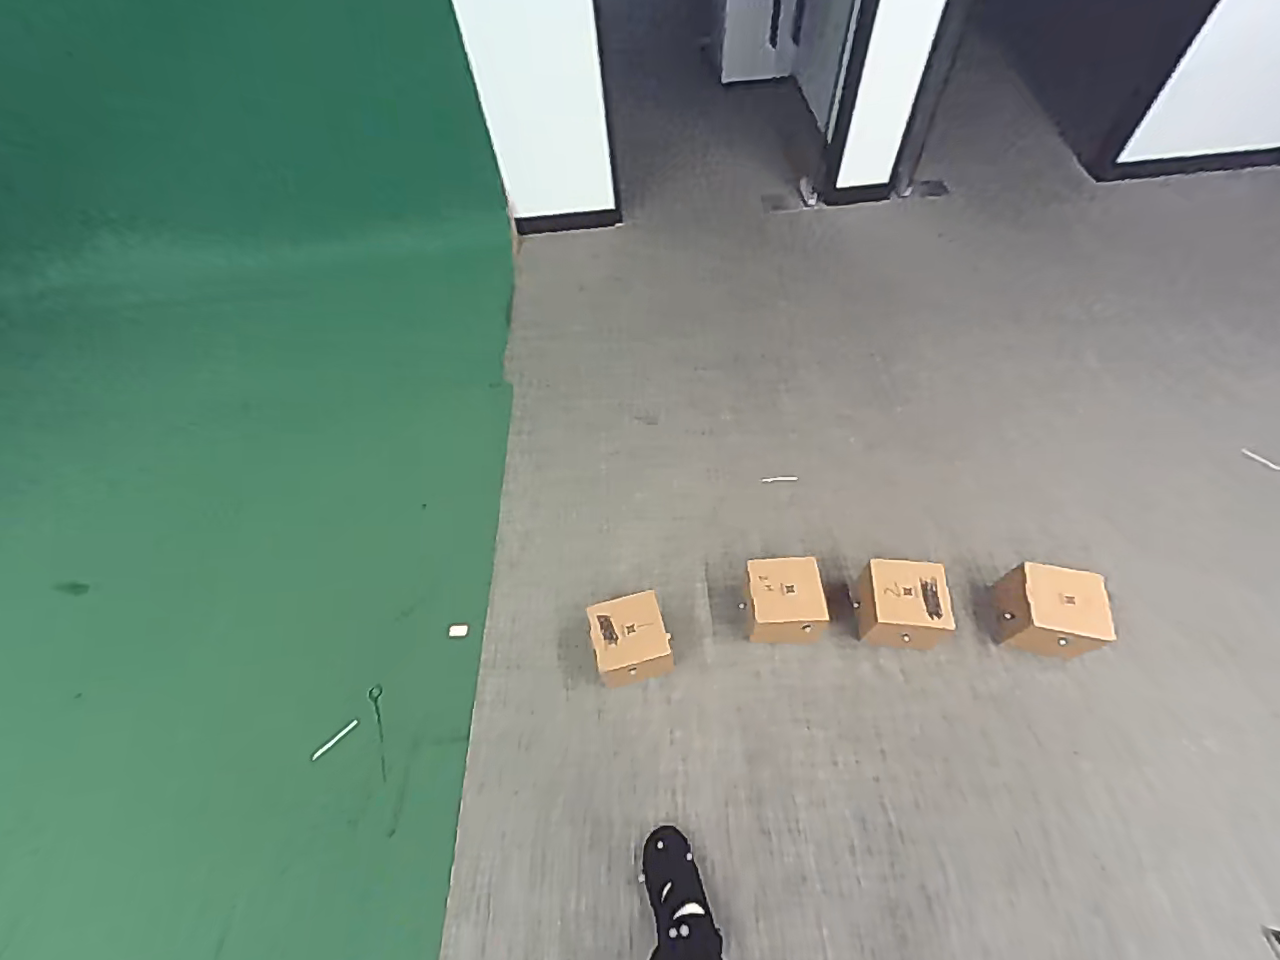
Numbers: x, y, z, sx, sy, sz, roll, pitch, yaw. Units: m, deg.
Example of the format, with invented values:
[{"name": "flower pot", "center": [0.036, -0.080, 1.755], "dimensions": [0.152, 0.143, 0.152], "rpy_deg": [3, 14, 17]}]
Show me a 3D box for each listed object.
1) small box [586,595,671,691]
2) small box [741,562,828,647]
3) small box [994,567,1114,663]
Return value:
[{"name": "small box", "center": [-0.025, 0.413, 1.356], "dimensions": [0.179, 0.176, 0.168], "rpy_deg": [-13, 57, -5]}, {"name": "small box", "center": [0.361, 0.322, 1.384], "dimensions": [0.179, 0.176, 0.168], "rpy_deg": [-3, 56, 2]}, {"name": "small box", "center": [0.999, 0.334, 1.327], "dimensions": [0.179, 0.176, 0.168], "rpy_deg": [10, 59, 10]}]
